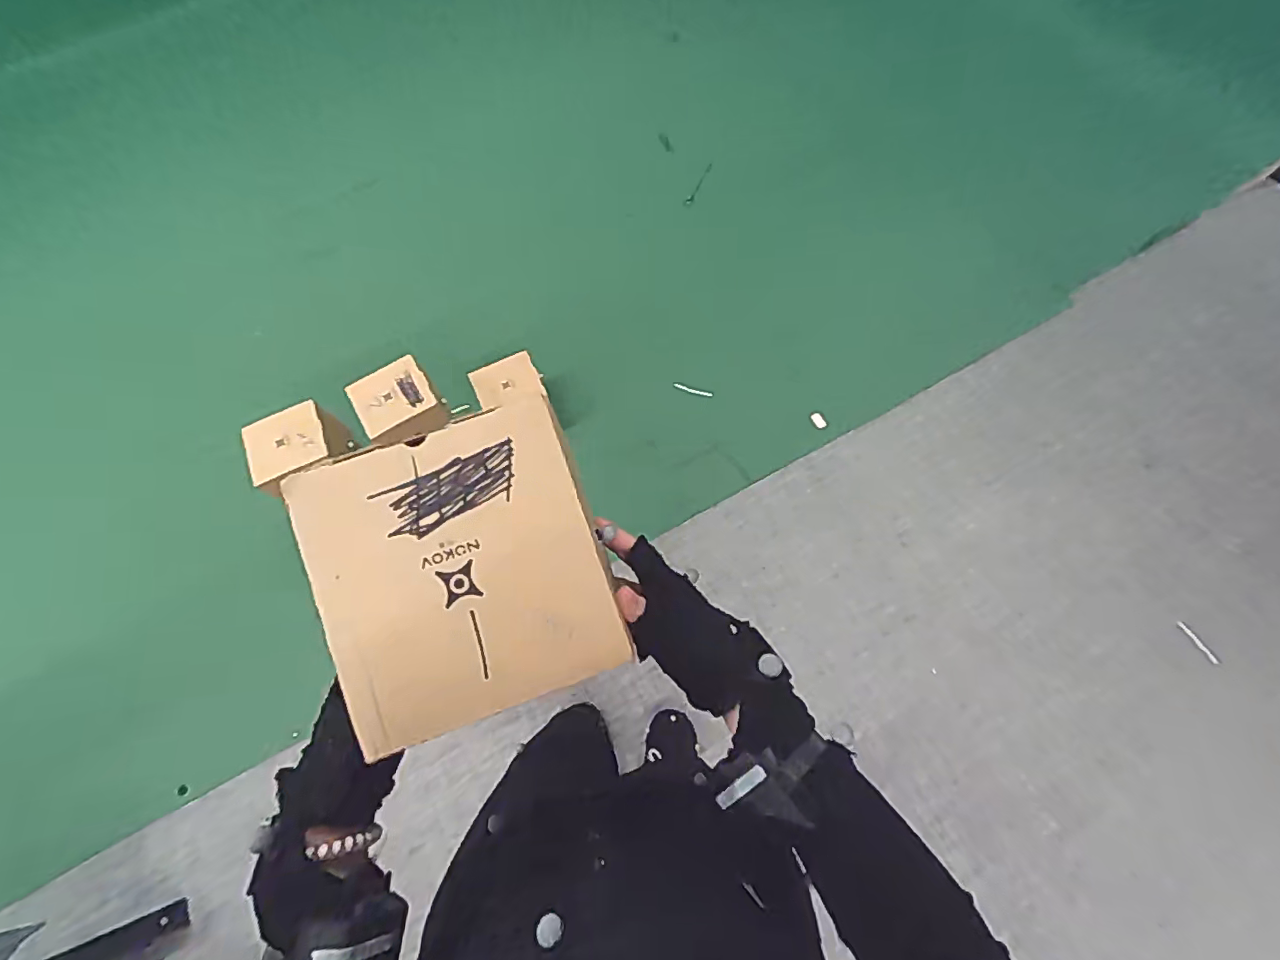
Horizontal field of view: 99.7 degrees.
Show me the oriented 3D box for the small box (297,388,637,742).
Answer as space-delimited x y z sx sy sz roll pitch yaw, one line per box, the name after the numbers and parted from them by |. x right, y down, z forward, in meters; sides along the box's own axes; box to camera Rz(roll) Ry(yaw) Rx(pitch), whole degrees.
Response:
-0.110 0.057 0.405 0.168 0.176 0.179 -19 84 -5 | small box

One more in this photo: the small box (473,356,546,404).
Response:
-0.347 -0.217 1.546 0.179 0.176 0.168 -25 69 -6 | small box

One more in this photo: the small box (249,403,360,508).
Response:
-0.804 -0.052 1.324 0.179 0.176 0.168 -24 69 -6 | small box
